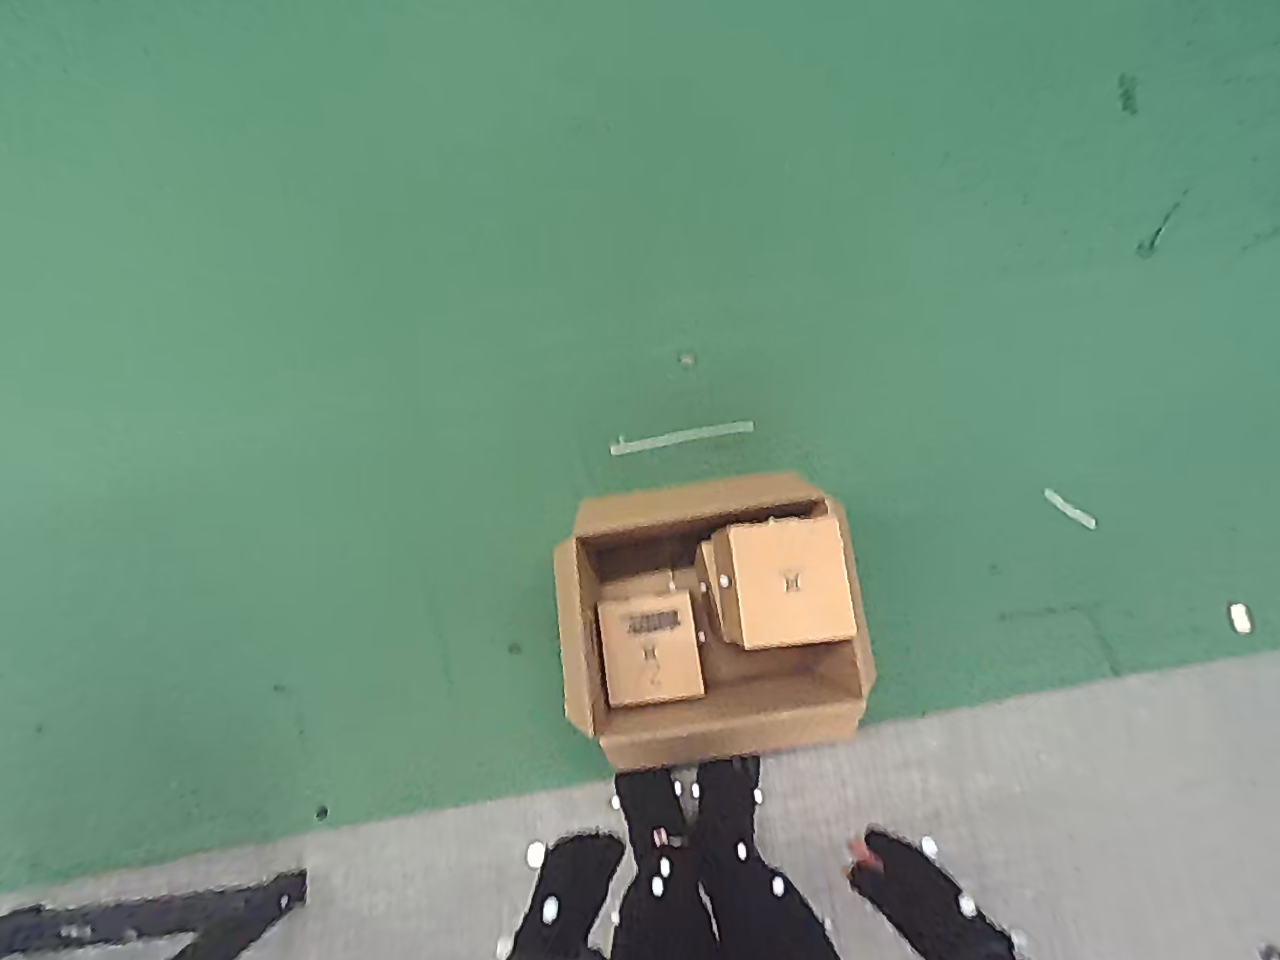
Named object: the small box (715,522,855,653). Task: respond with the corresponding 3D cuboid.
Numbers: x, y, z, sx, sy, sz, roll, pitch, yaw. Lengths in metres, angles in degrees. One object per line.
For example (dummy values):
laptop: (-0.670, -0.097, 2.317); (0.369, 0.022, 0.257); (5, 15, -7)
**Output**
small box: (0.218, 0.168, 0.859); (0.168, 0.176, 0.179); (-6, 78, -1)
